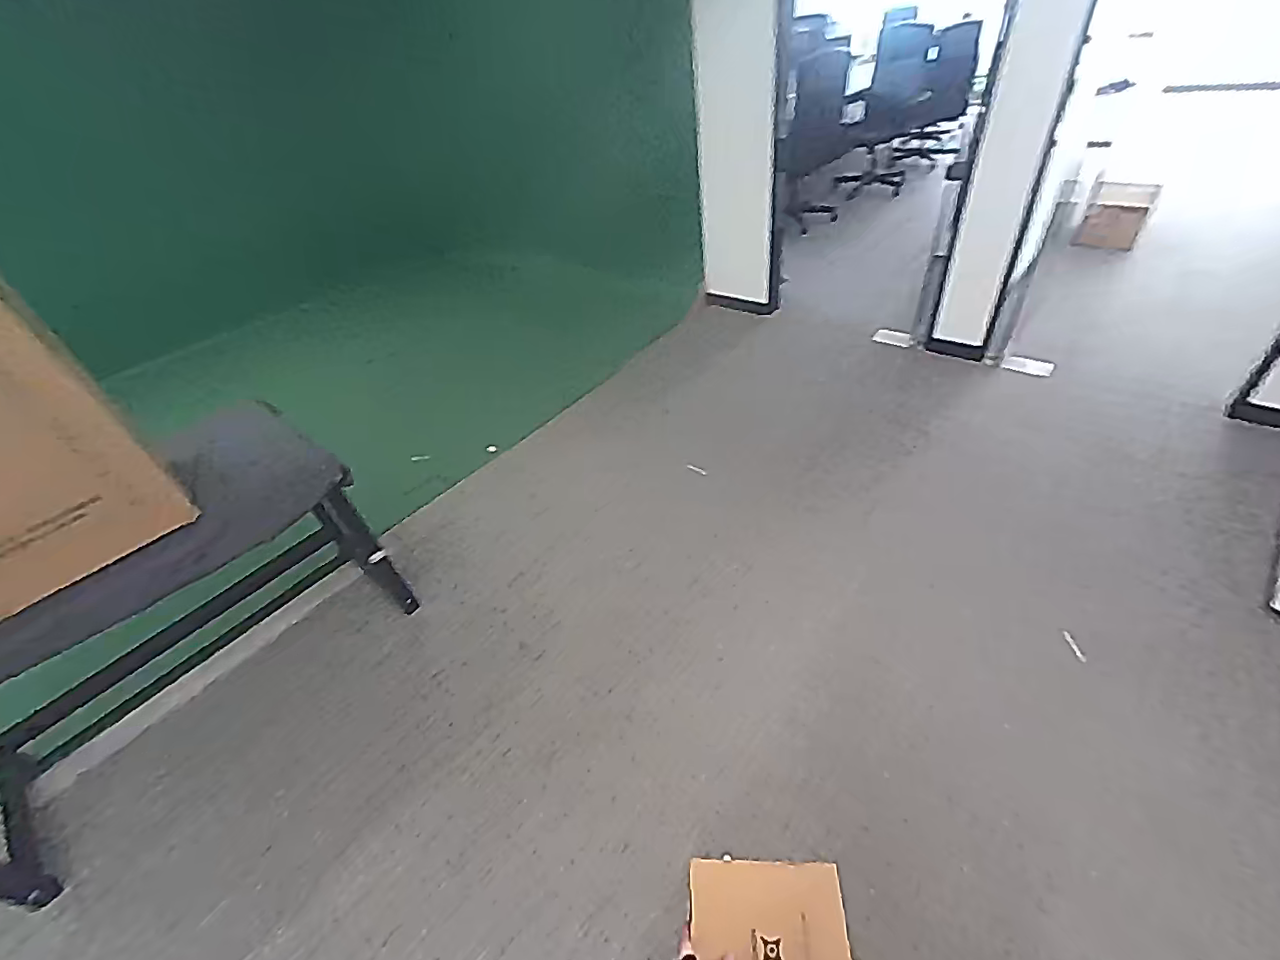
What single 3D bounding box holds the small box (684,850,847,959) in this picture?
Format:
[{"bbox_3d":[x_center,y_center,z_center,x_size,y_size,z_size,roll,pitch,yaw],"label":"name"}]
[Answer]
[{"bbox_3d":[0.150,0.565,0.660,0.179,0.176,0.168,-4,47,6],"label":"small box"}]
